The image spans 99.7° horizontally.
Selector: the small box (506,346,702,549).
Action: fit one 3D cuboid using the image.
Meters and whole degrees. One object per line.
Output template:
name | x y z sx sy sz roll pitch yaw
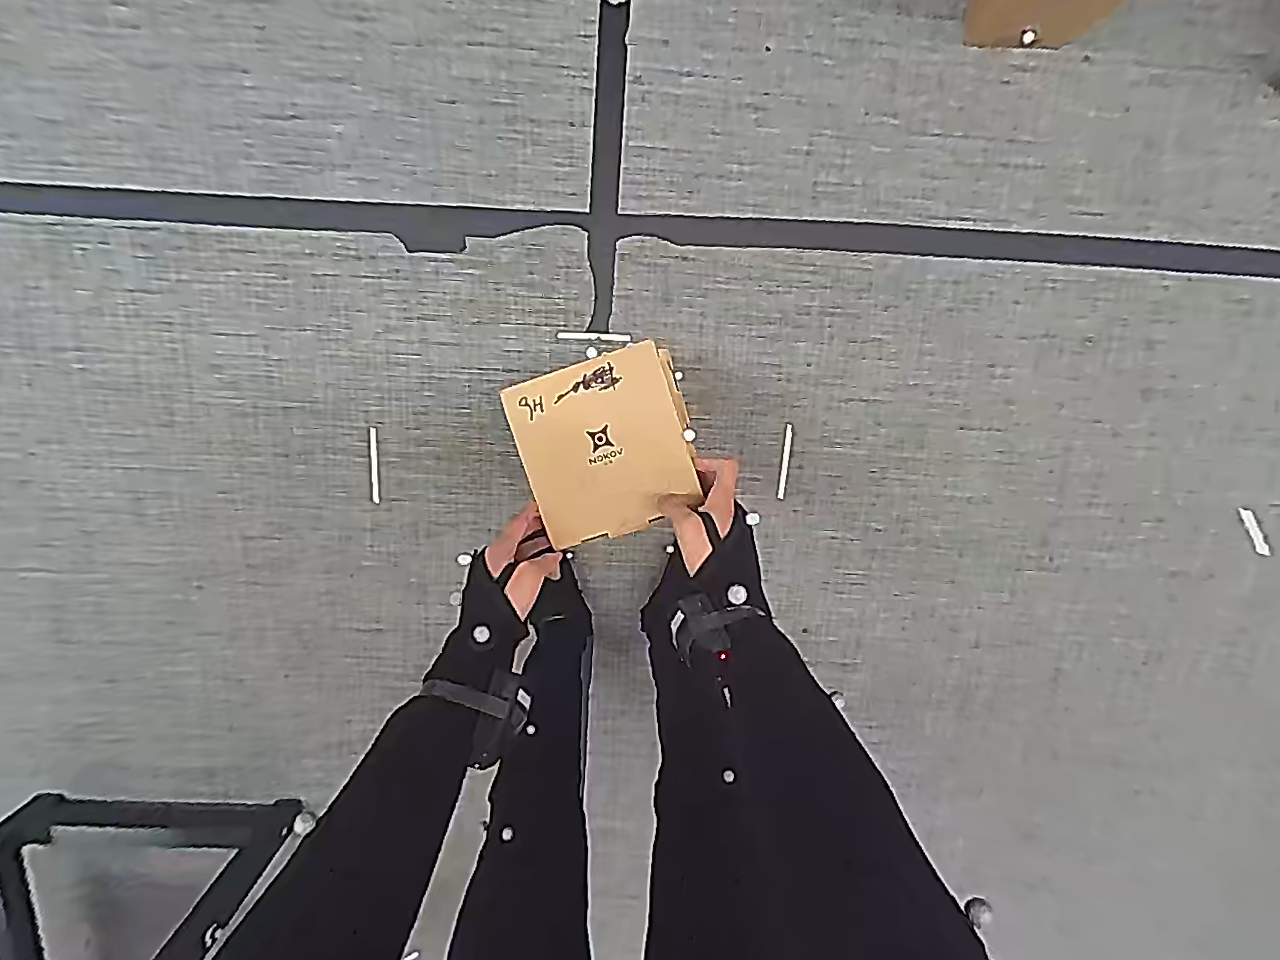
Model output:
small box | -0.031 -0.040 0.629 0.168 0.176 0.179 -17 95 5
